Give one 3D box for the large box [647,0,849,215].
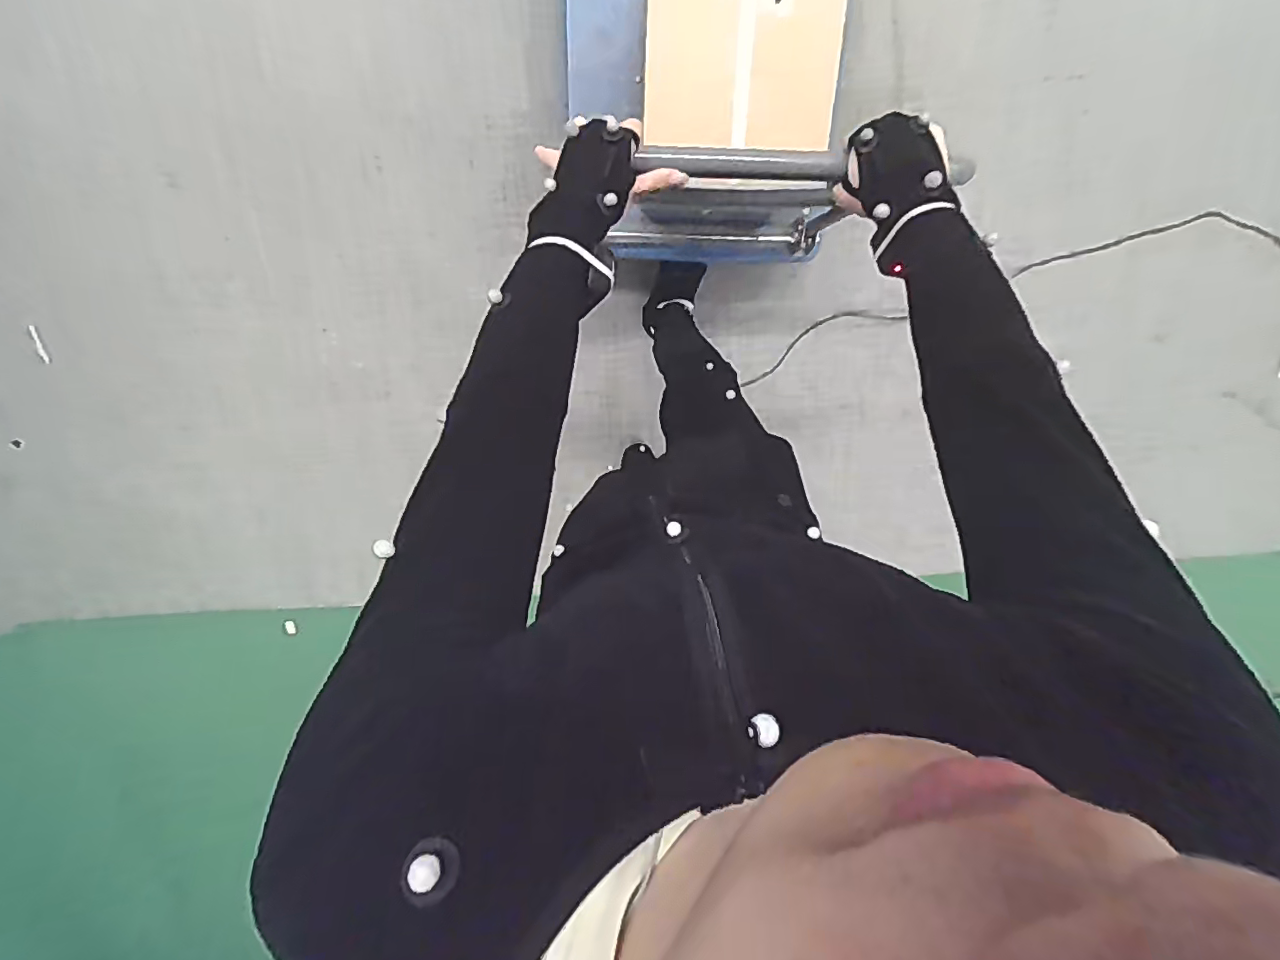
[{"bbox_3d":[0.171,-0.729,0.996,0.320,0.320,0.408,1,108,-1],"label":"large box"}]
